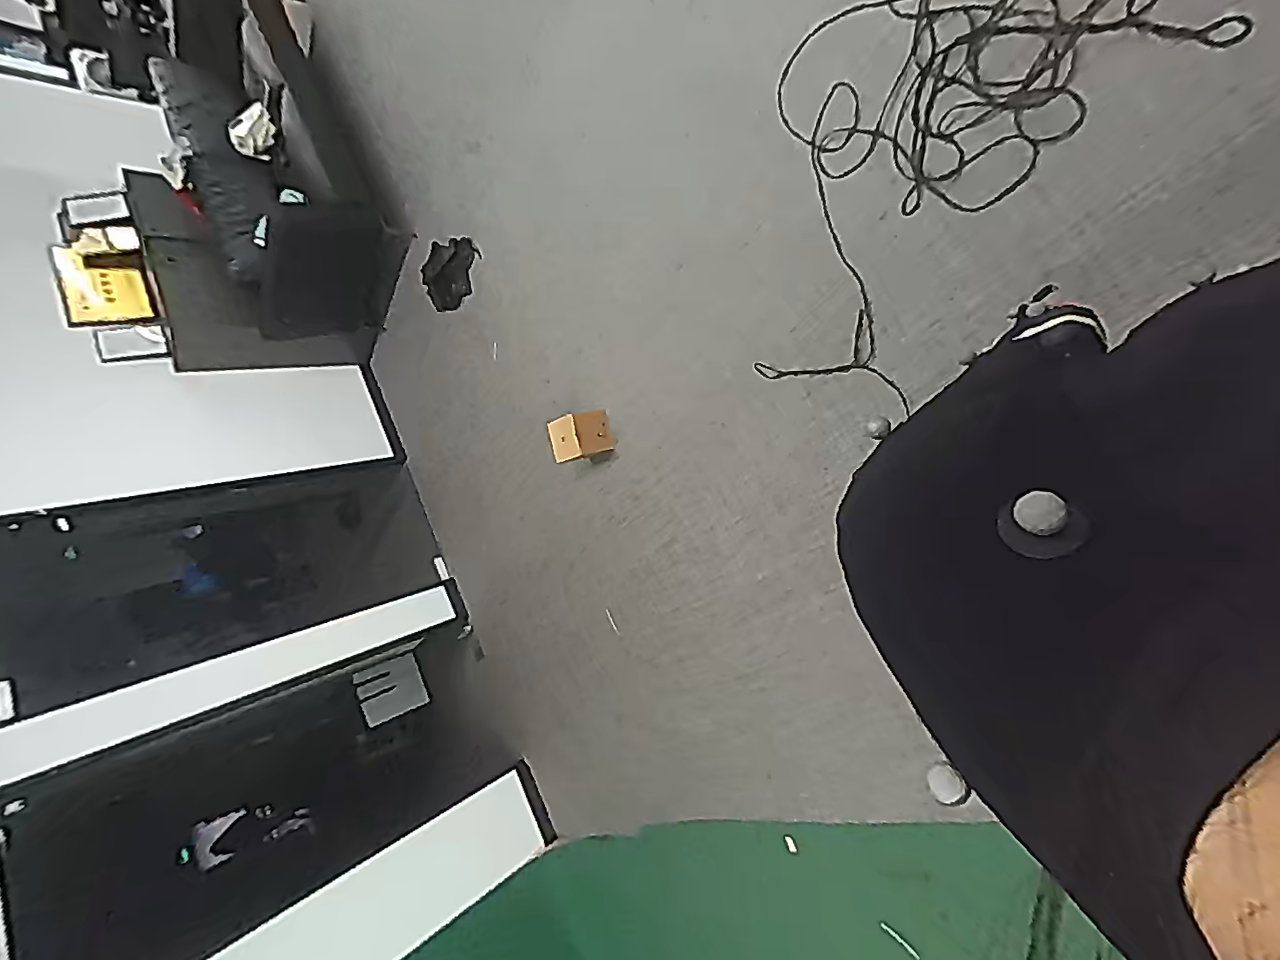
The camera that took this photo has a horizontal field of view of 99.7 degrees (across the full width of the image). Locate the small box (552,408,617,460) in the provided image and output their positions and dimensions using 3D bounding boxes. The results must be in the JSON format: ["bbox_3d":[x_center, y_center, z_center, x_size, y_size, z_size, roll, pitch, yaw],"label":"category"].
[{"bbox_3d":[-0.220,-0.184,2.150,0.179,0.176,0.168,-13,90,48],"label":"small box"}]
